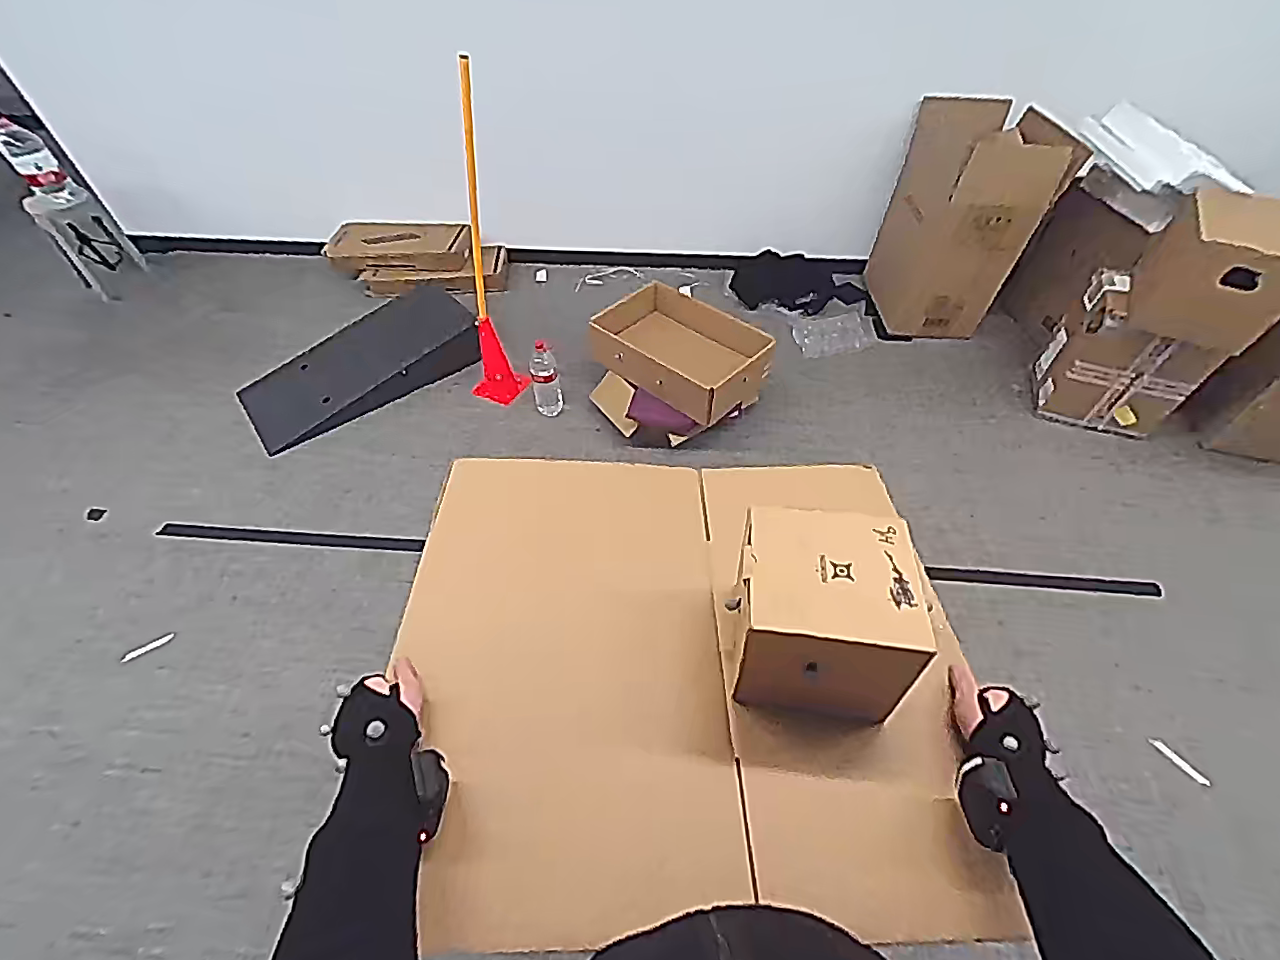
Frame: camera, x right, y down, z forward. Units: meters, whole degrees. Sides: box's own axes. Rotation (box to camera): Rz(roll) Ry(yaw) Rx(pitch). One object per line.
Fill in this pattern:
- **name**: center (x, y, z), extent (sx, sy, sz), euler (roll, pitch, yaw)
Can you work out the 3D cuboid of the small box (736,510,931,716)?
- **small box**: center (0.206, 0.156, 0.631), extent (0.179, 0.176, 0.168), euler (5, 46, 8)
